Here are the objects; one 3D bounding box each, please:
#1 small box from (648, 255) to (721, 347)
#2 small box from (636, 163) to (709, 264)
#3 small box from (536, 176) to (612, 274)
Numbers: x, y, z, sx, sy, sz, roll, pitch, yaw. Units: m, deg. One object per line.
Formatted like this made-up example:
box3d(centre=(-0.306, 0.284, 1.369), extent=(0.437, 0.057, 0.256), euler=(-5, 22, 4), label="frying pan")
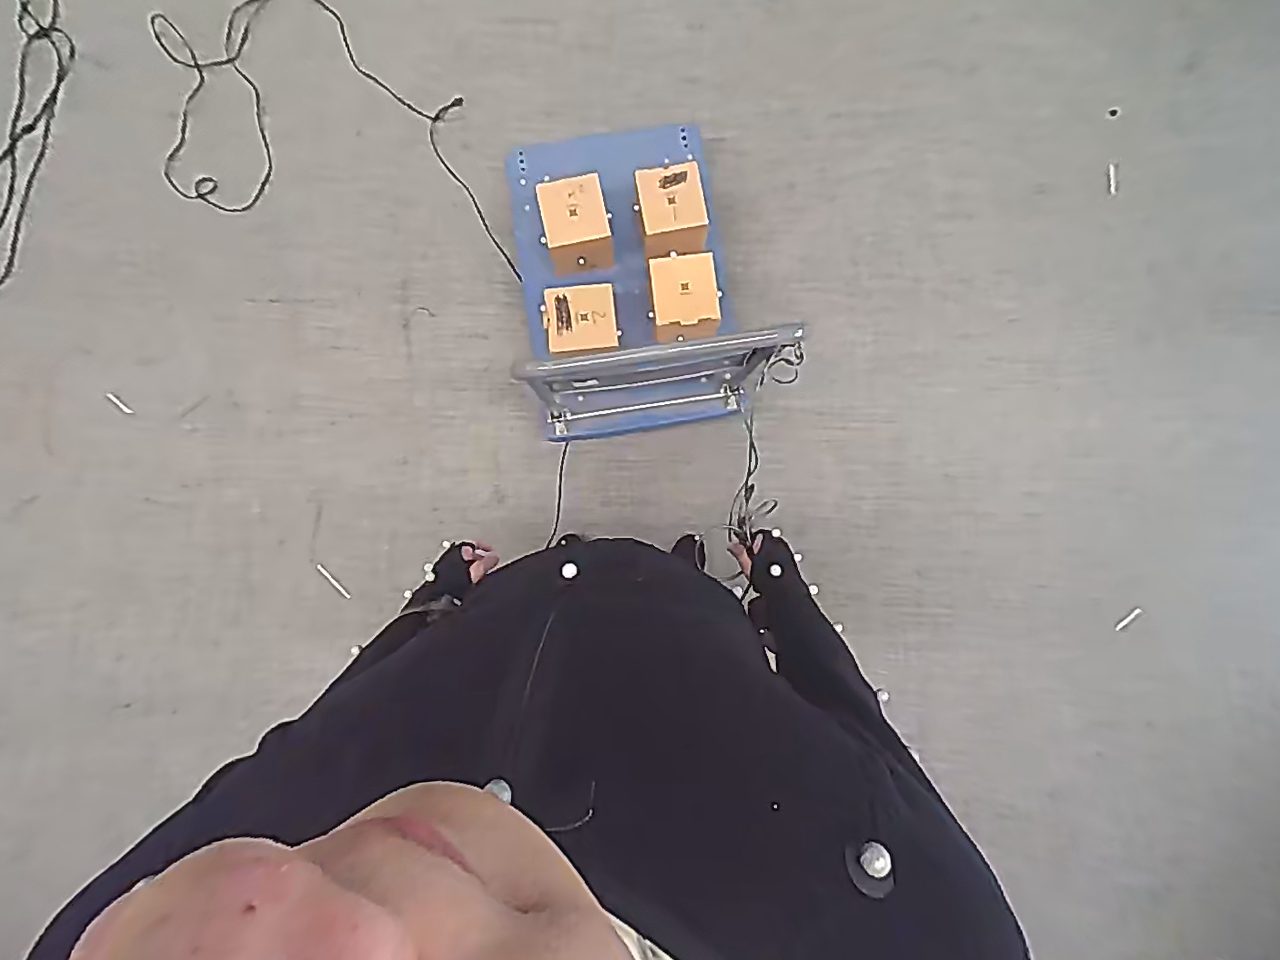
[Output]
box3d(centre=(0.114, -0.474, 1.447), extent=(0.168, 0.176, 0.179), euler=(-7, 86, -1), label="small box")
box3d(centre=(0.082, -0.713, 1.464), extent=(0.168, 0.176, 0.179), euler=(-11, 86, 0), label="small box")
box3d(centre=(-0.172, -0.676, 1.461), extent=(0.168, 0.176, 0.179), euler=(-12, 86, -2), label="small box")
